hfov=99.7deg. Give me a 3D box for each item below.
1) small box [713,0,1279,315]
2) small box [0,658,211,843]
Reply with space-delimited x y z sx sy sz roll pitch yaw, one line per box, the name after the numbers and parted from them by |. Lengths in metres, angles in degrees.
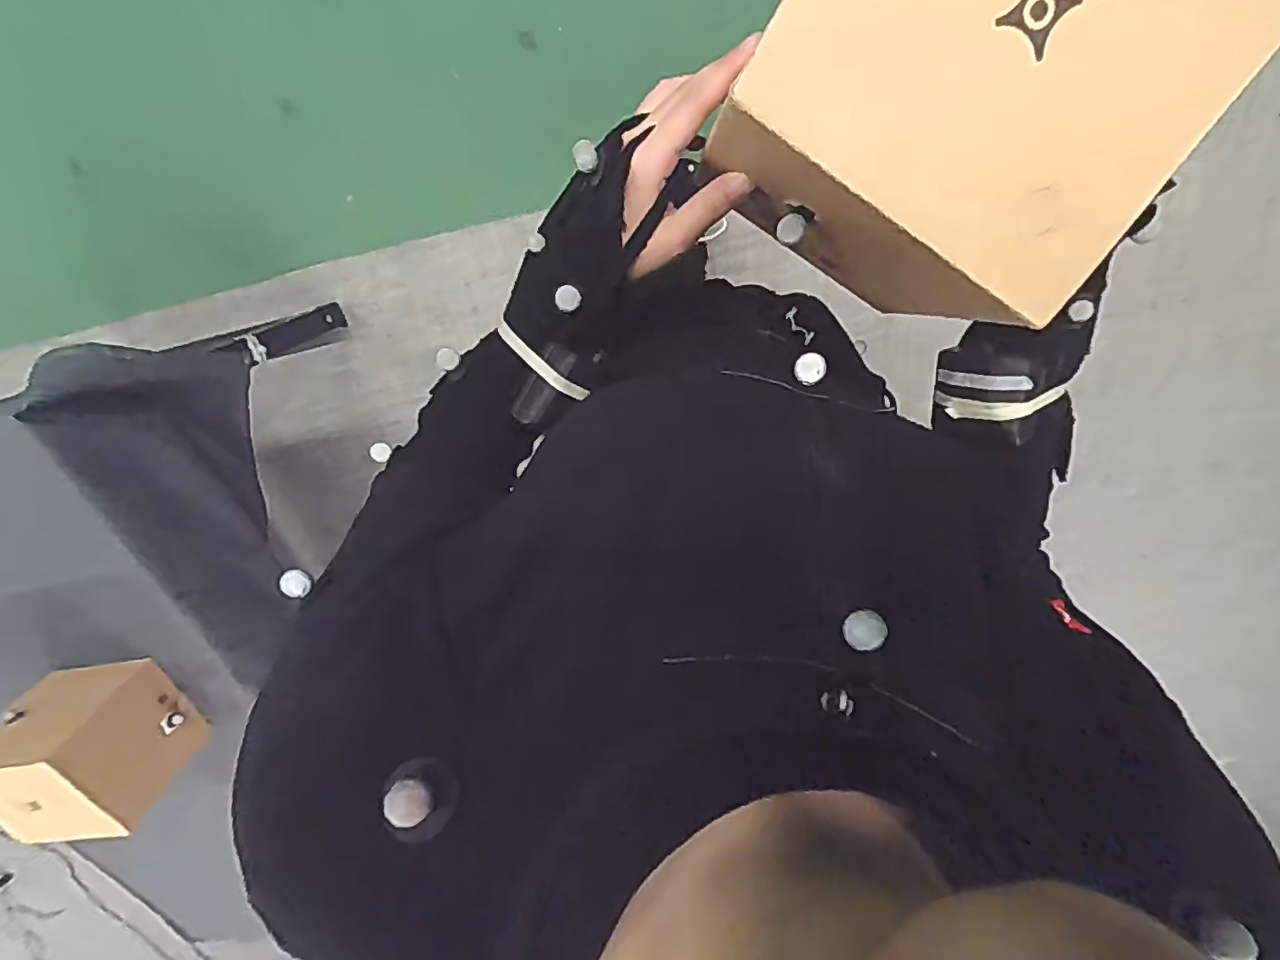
0.149 -0.201 0.264 0.168 0.176 0.179 30 106 -9 | small box
-0.781 0.379 0.770 0.179 0.176 0.168 -10 119 7 | small box
